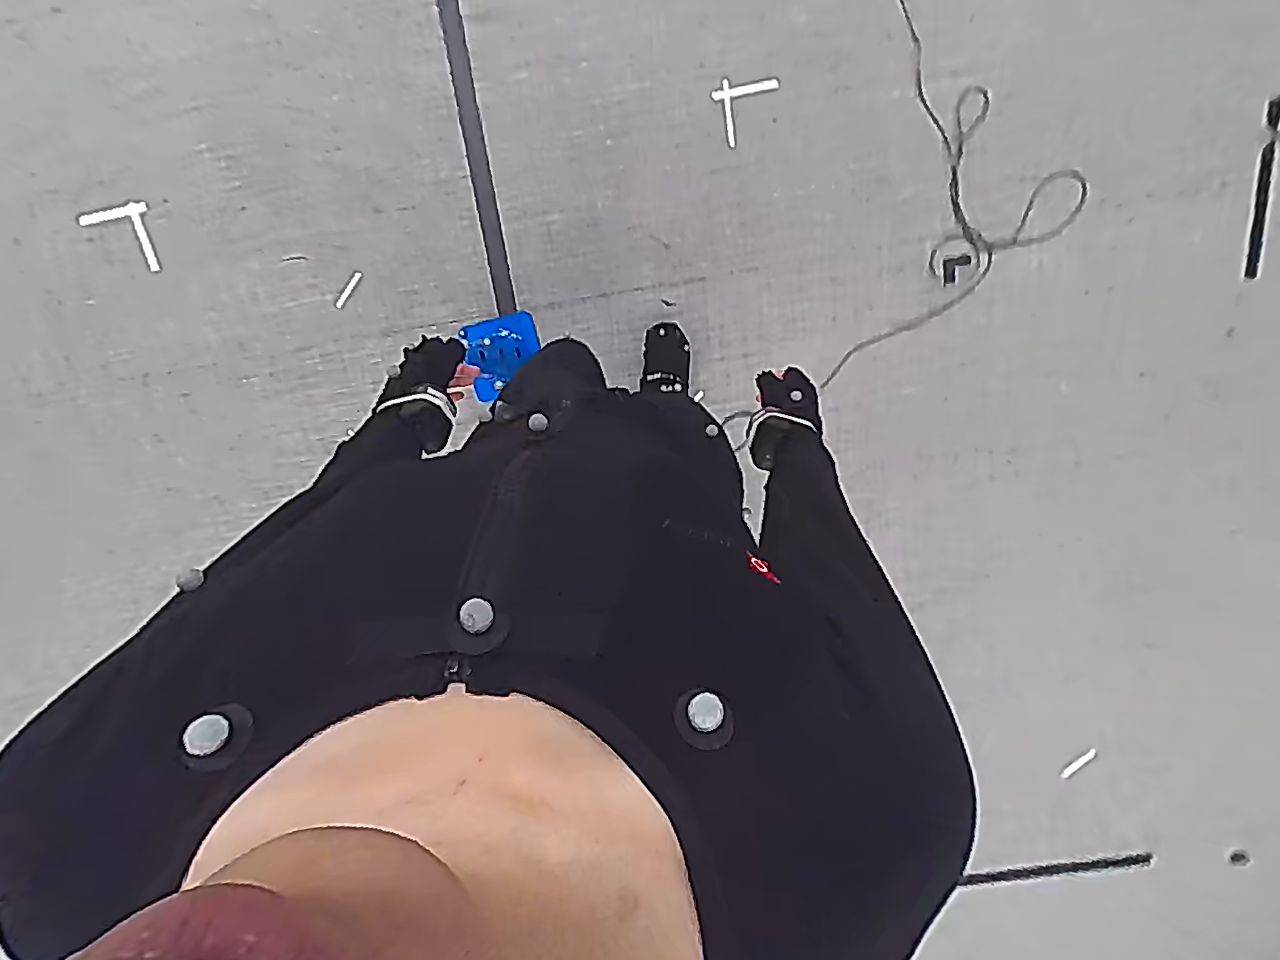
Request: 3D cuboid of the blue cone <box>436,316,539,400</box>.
[{"bbox_3d":[-0.368,-0.276,1.233,0.192,0.380,0.193,-11,103,4],"label":"blue cone"}]
